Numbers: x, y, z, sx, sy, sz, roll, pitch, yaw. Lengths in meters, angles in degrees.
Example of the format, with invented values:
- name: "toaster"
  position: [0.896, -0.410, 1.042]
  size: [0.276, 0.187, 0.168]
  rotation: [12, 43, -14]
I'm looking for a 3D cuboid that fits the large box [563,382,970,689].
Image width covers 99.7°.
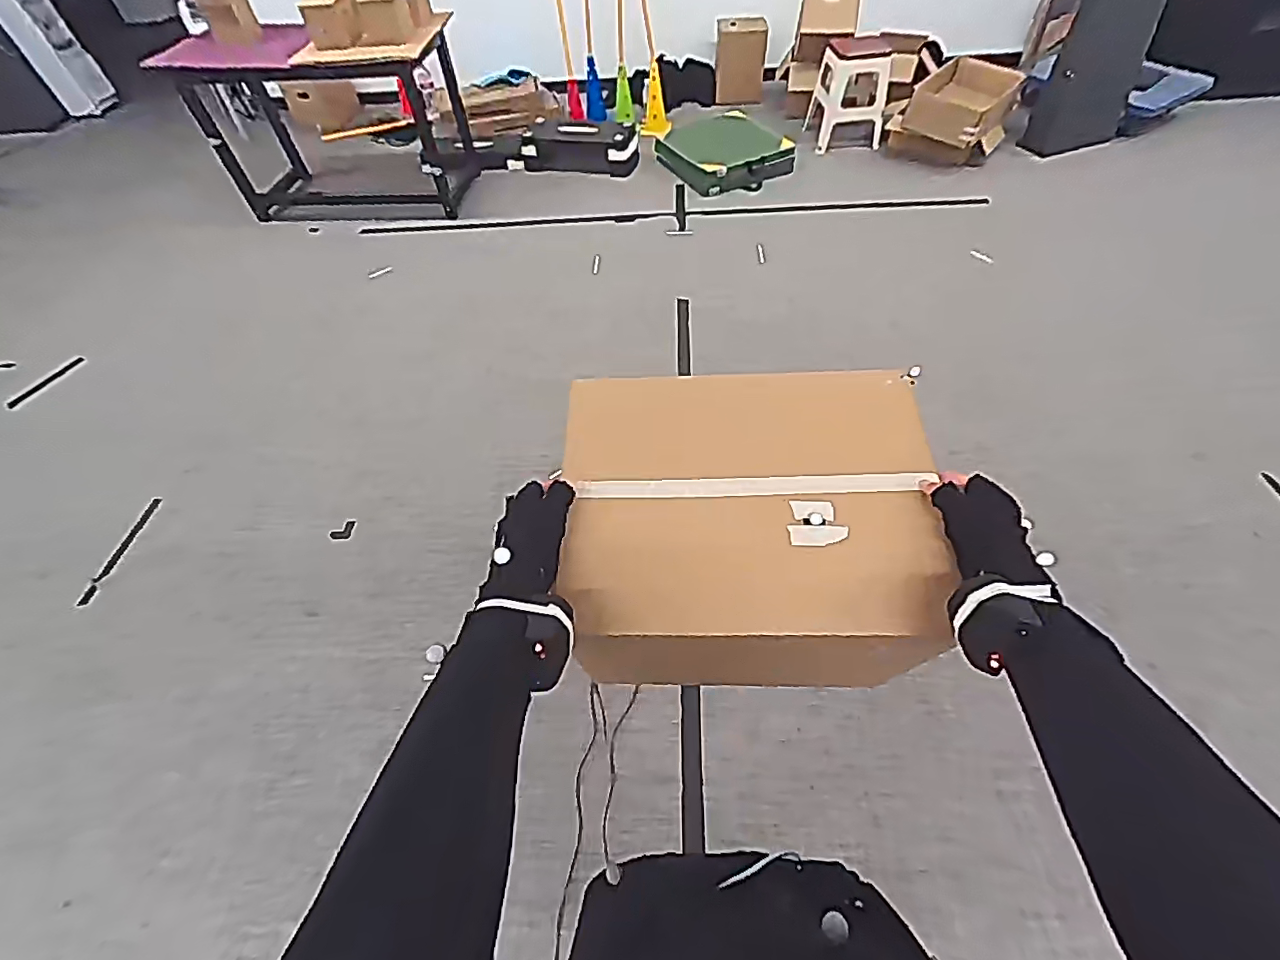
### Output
- name: "large box"
  position: [0.128, 0.092, 0.726]
  size: [0.408, 0.320, 0.320]
  rotation: [-1, 61, 4]
